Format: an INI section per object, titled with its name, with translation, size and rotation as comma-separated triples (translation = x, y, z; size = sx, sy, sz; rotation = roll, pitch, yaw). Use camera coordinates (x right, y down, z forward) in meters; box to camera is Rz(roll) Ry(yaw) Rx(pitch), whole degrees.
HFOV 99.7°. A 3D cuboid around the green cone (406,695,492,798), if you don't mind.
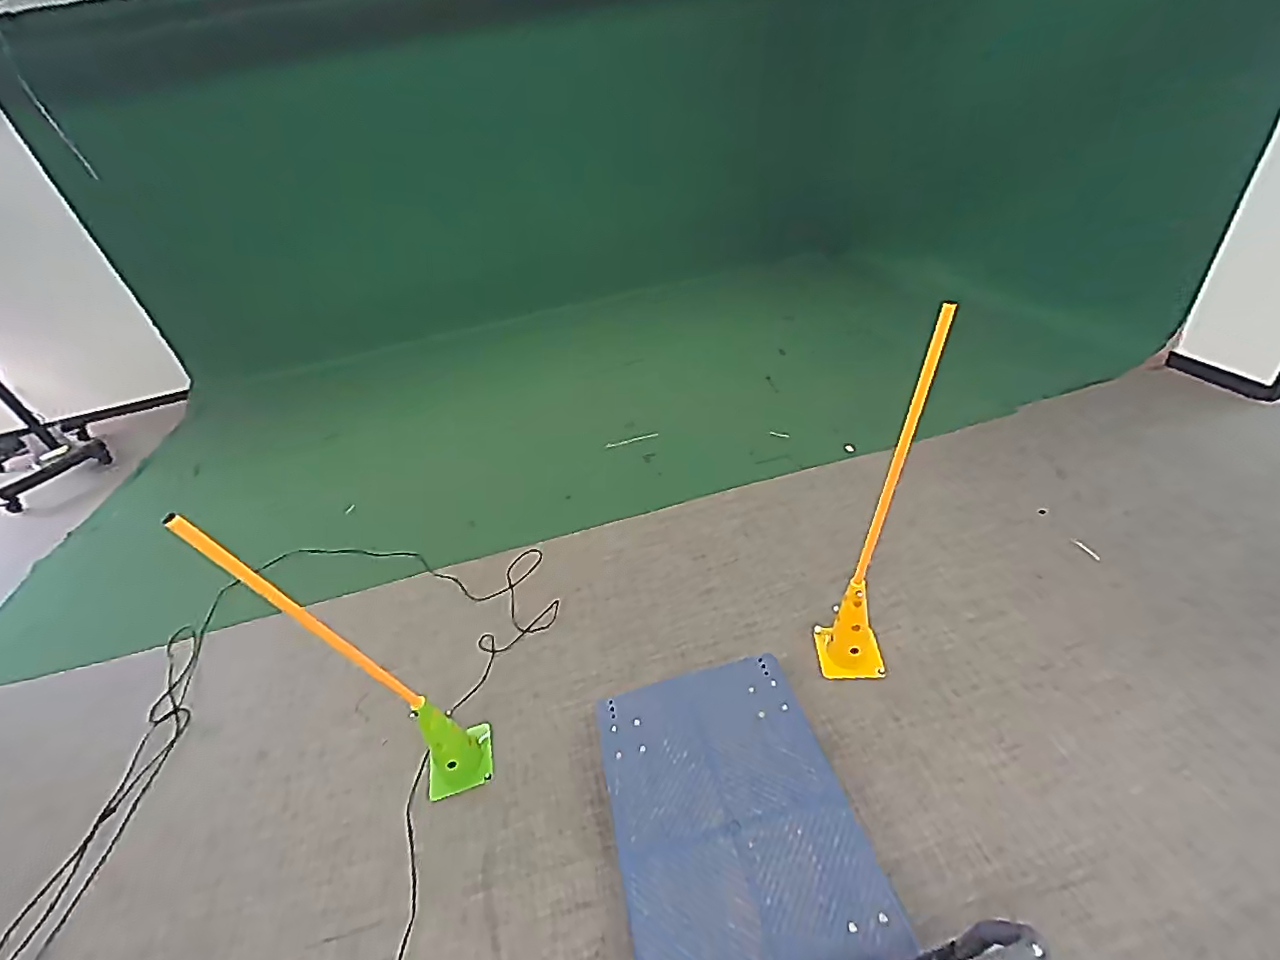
[green cone]
translation = -0.610, 0.762, 1.641
size = 0.202, 0.368, 0.200
rotation = -18, 37, -7
